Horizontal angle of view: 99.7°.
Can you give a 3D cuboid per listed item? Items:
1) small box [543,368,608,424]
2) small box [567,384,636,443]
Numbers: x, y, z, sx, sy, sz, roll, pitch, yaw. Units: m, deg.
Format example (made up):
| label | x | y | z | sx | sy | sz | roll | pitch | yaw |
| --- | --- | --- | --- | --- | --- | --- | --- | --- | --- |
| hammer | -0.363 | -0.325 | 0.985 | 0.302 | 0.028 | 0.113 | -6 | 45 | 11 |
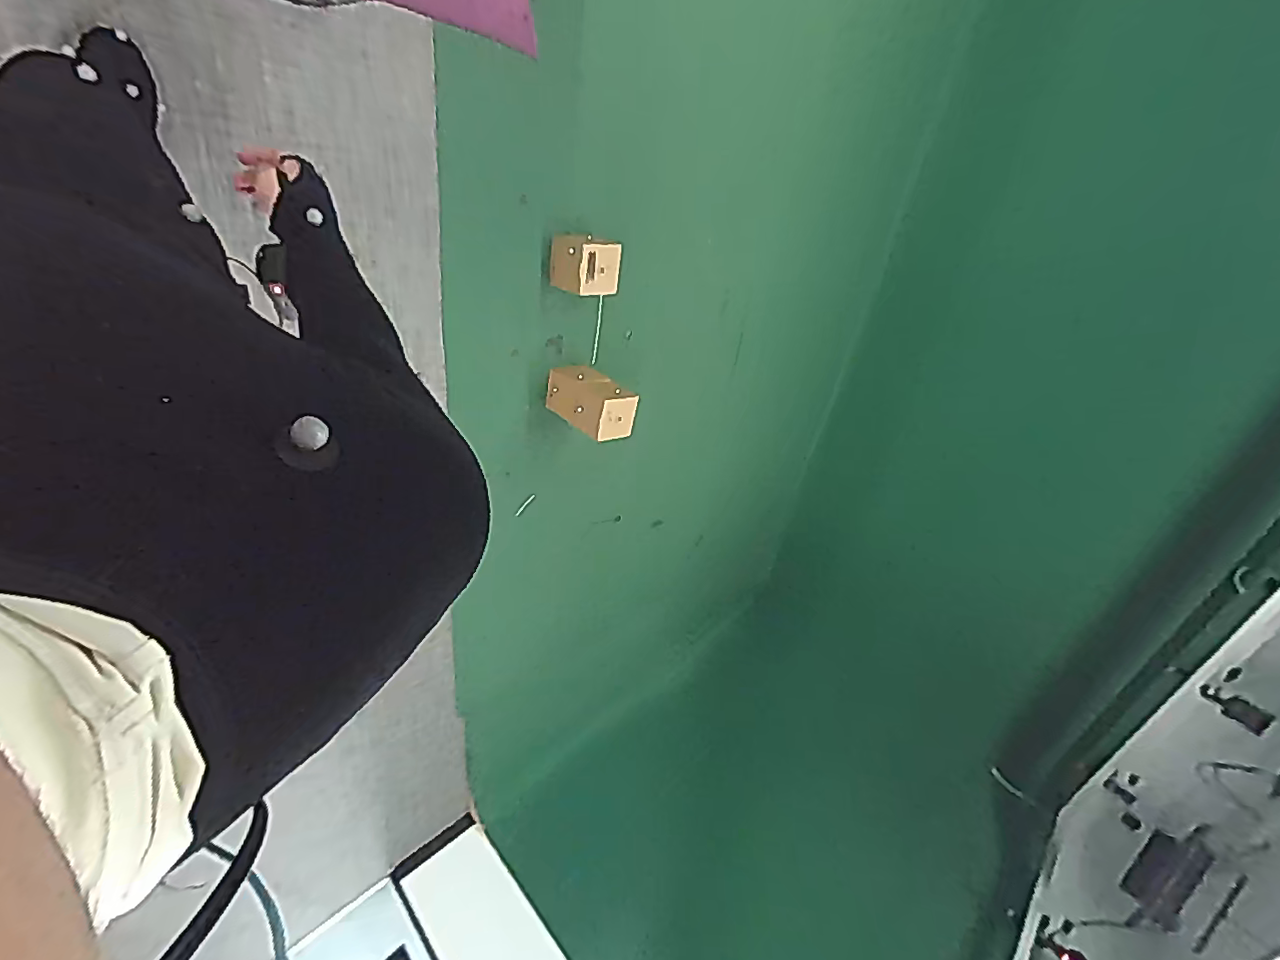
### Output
| label | x | y | z | sx | sy | sz | roll | pitch | yaw |
| --- | --- | --- | --- | --- | --- | --- | --- | --- | --- |
| small box | -0.258 | -0.337 | 2.141 | 0.179 | 0.176 | 0.168 | -17 | 129 | -43 |
| small box | -0.148 | -0.258 | 2.047 | 0.179 | 0.176 | 0.168 | -14 | 128 | -44 |
